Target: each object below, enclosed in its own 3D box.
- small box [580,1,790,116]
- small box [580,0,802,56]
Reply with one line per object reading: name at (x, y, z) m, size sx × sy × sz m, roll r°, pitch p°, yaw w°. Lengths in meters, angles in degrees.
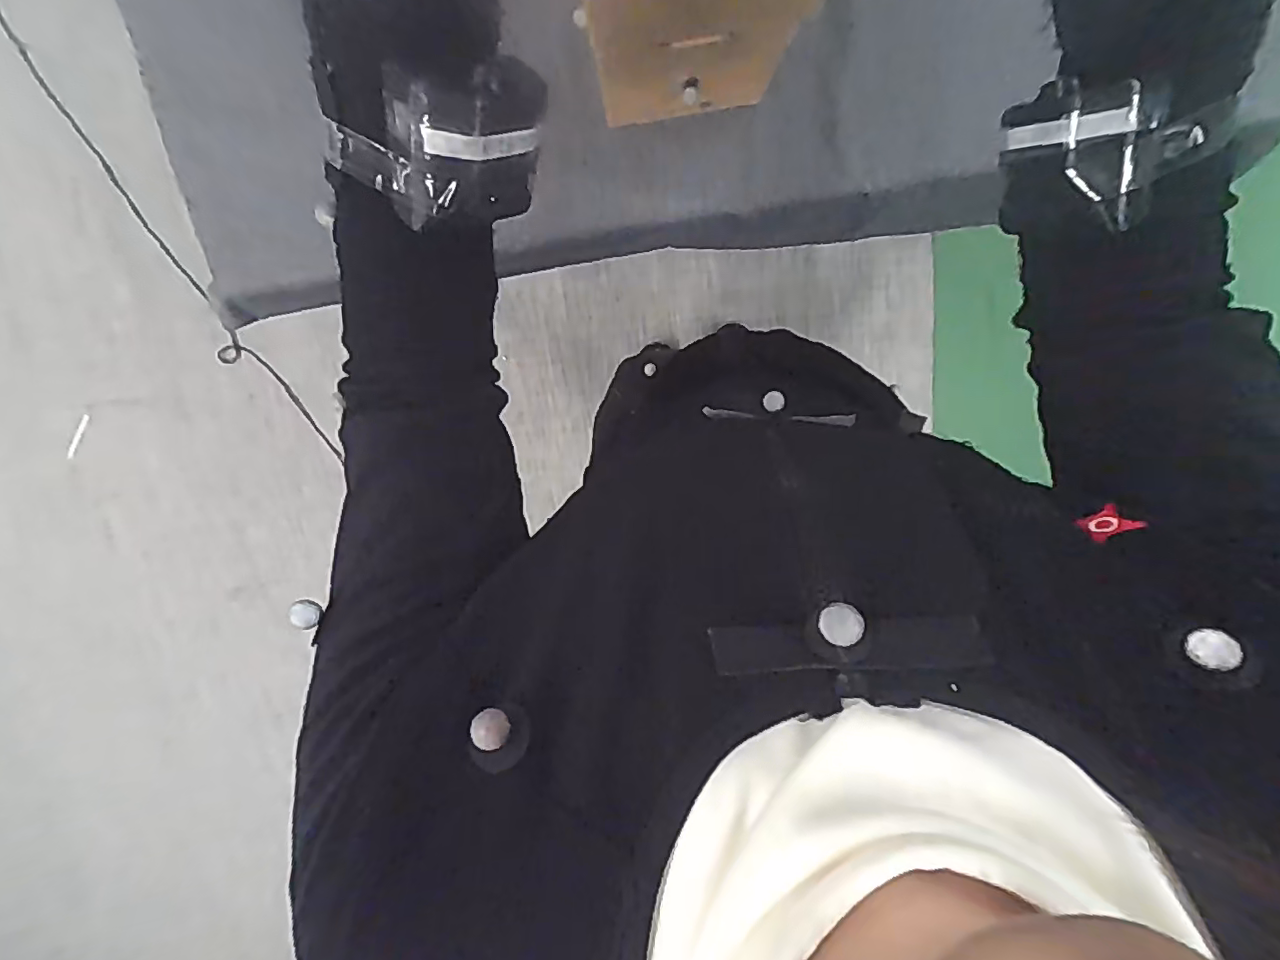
small box at (0.029, -0.453, 0.483) m, size 0.168 × 0.176 × 0.179 m, roll -8°, pitch 106°, yaw 2°
small box at (0.036, -0.401, 0.326) m, size 0.179 × 0.176 × 0.168 m, roll -10°, pitch 105°, yaw 2°
